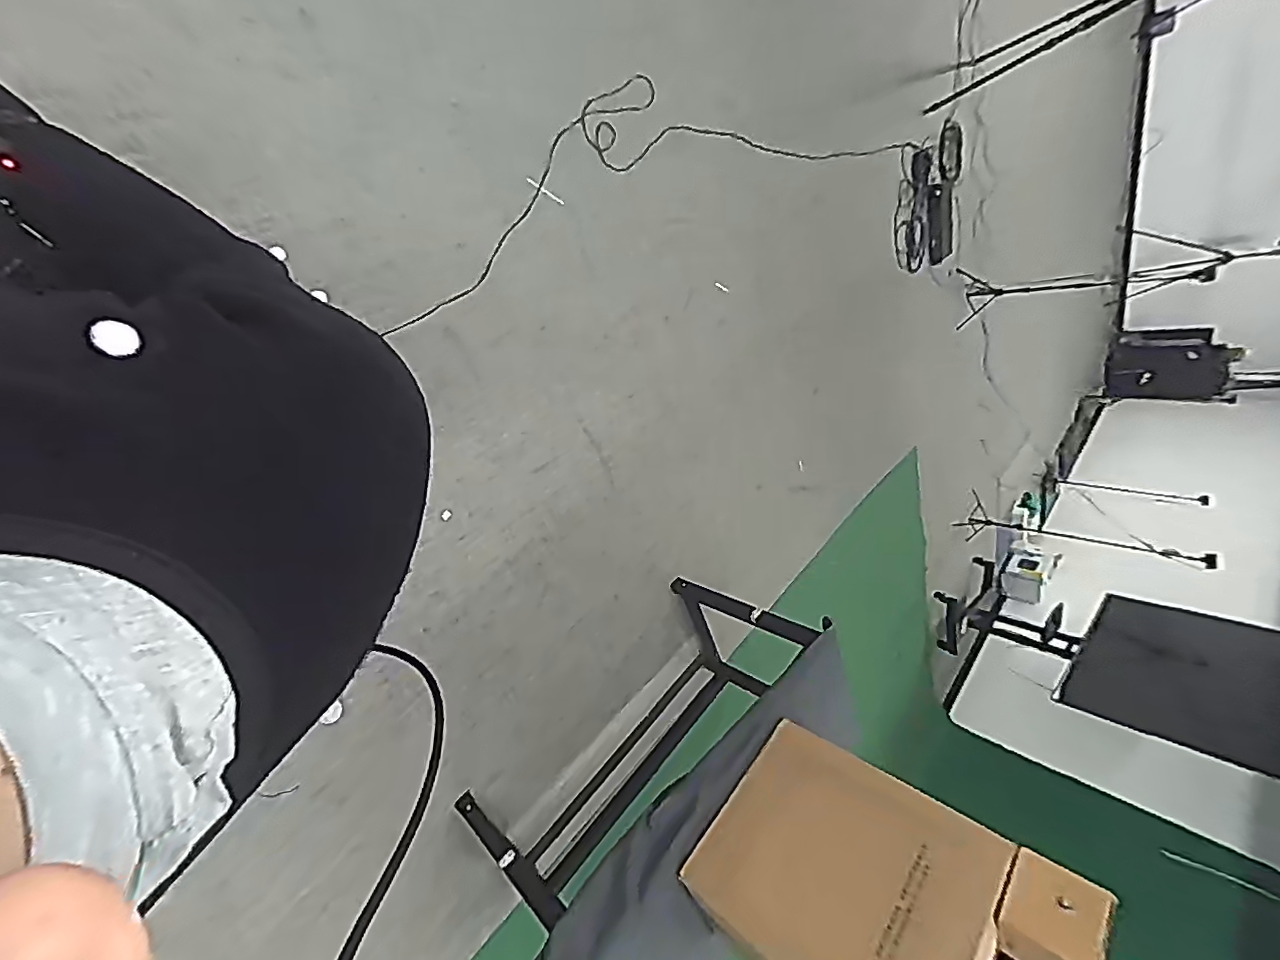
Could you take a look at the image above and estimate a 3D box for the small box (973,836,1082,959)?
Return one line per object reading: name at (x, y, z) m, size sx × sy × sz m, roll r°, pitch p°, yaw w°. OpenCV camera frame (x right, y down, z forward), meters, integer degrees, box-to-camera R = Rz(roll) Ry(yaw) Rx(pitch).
small box at (0.868, 0.955, 1.217) m, size 0.179 × 0.176 × 0.168 m, roll -42°, pitch 124°, yaw -32°
